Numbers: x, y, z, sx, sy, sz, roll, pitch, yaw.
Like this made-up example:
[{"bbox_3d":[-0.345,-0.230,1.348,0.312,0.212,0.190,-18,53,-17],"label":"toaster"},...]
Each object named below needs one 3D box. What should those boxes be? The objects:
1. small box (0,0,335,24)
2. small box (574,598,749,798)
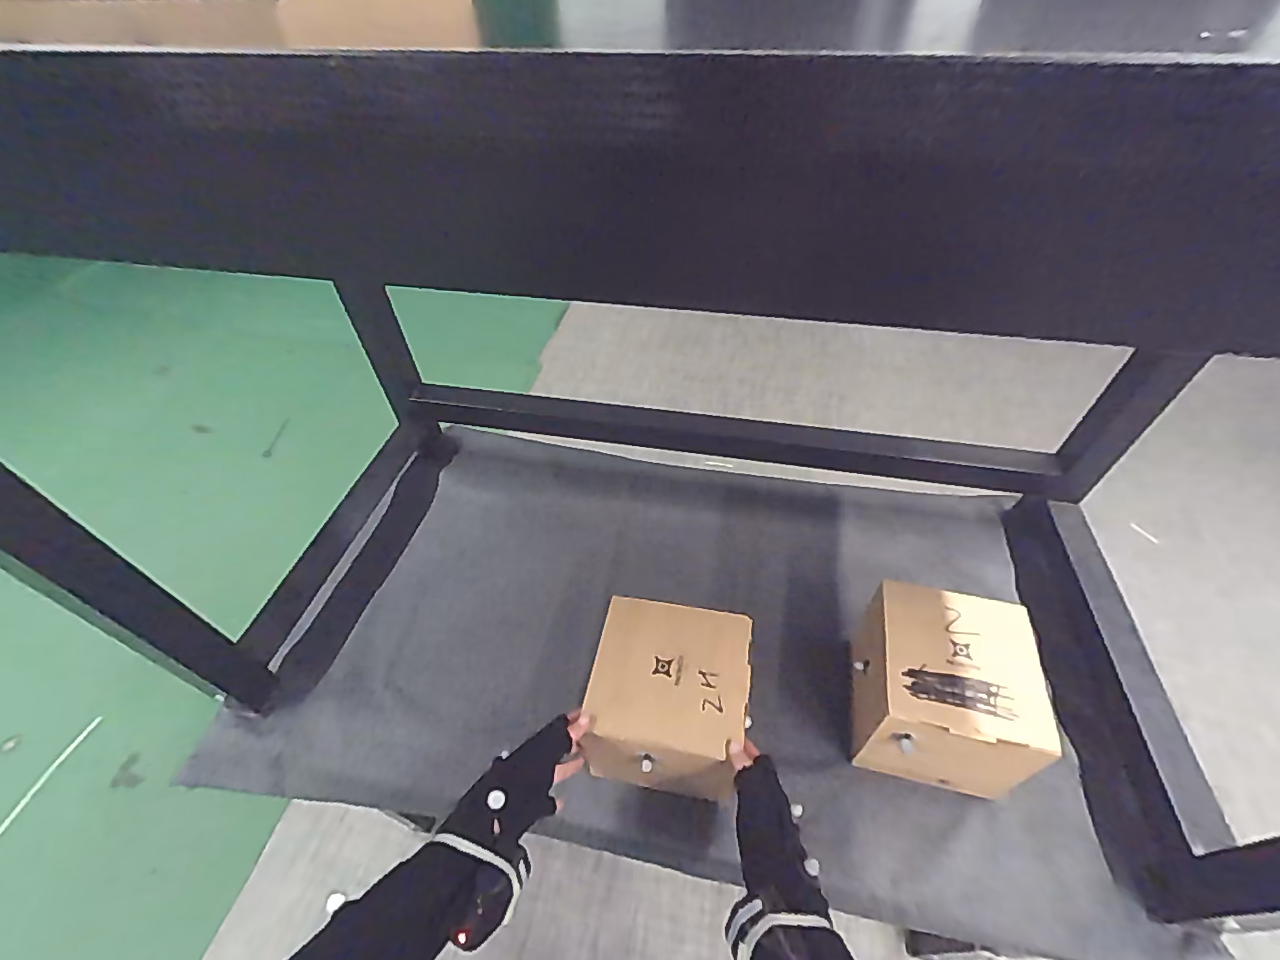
[{"bbox_3d":[-0.197,-0.291,0.205,0.168,0.176,0.179,7,47,8],"label":"small box"},{"bbox_3d":[0.033,0.271,0.668,0.179,0.176,0.168,7,48,9],"label":"small box"}]
